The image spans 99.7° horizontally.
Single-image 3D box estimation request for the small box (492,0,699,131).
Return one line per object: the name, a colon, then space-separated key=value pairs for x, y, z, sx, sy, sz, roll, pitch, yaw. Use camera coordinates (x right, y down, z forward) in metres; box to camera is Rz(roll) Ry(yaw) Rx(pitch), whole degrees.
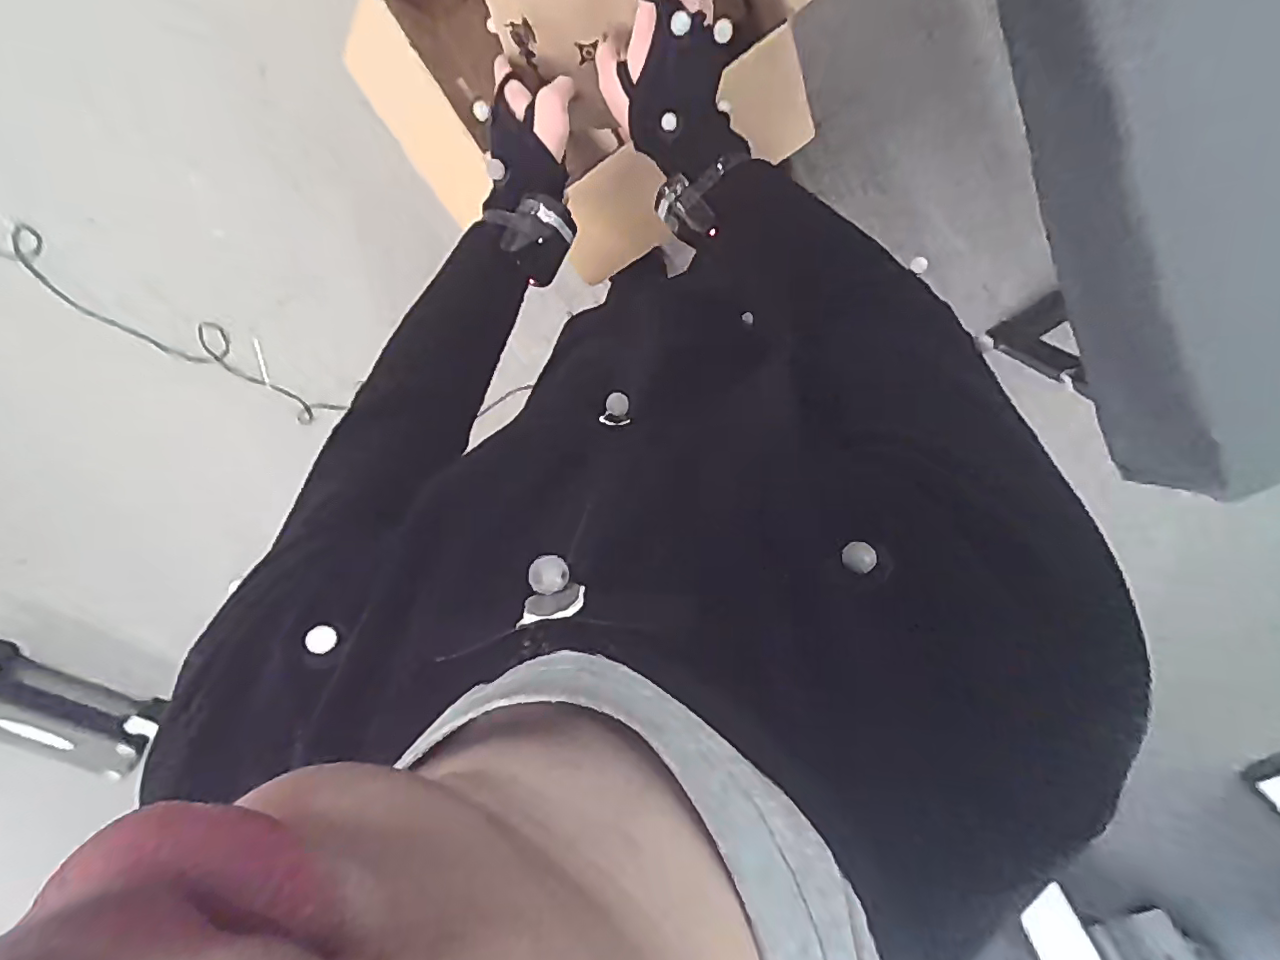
small box: x=-0.034 y=-0.475 z=0.515 sx=0.179 sy=0.168 sz=0.176 roll=0 pitch=78 yaw=6
